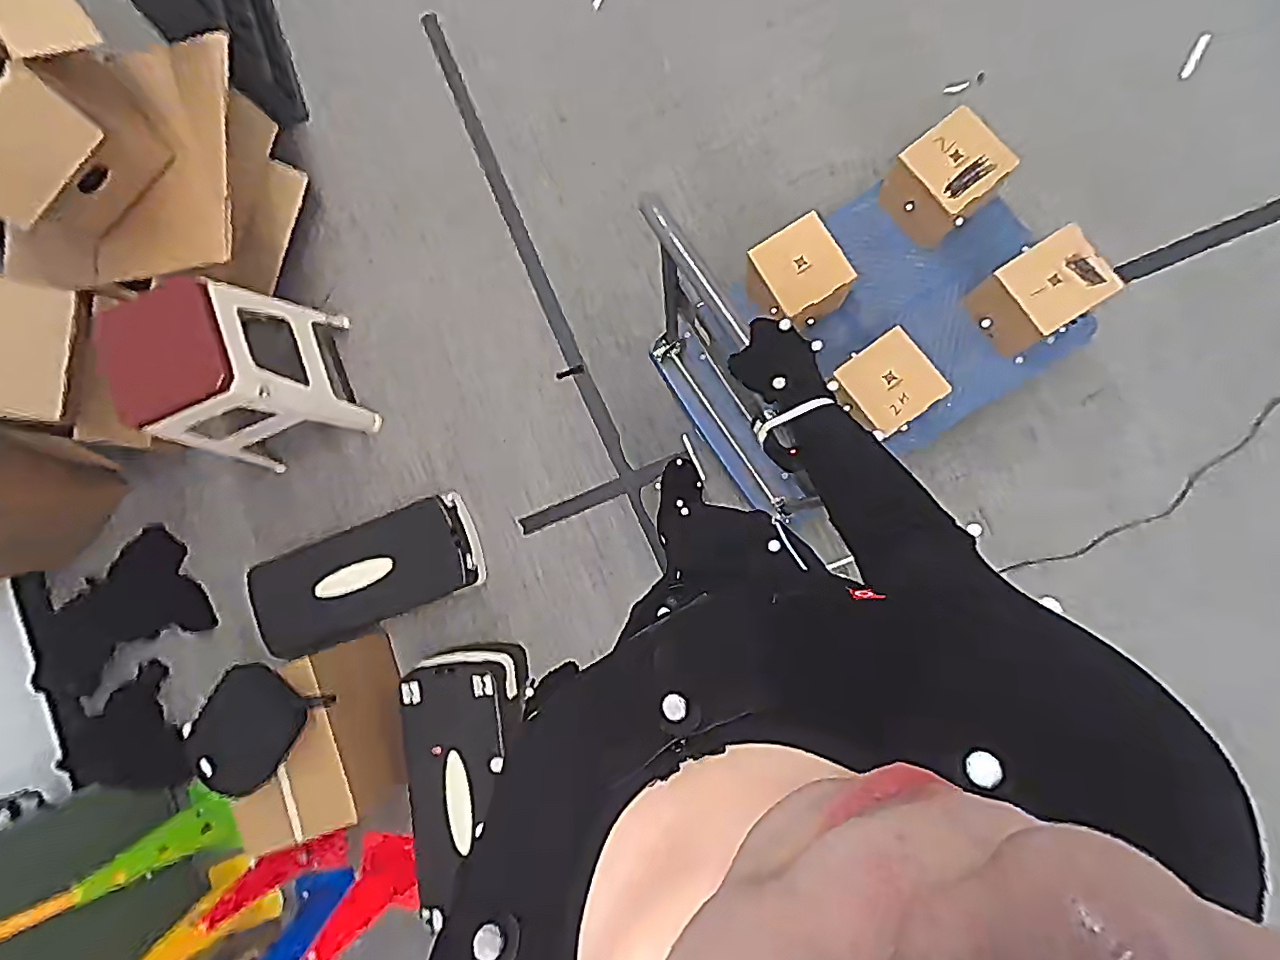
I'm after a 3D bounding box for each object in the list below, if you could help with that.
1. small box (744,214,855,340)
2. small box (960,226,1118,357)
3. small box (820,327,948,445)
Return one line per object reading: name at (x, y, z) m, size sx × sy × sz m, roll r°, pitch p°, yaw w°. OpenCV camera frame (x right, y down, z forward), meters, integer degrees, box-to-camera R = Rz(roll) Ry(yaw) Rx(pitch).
small box at (0.350, -0.451, 1.229) m, size 0.168 × 0.176 × 0.179 m, roll -31°, pitch 85°, yaw 5°
small box at (0.837, -0.392, 1.156) m, size 0.179 × 0.176 × 0.168 m, roll -33°, pitch 83°, yaw 6°
small box at (0.522, -0.196, 1.188) m, size 0.168 × 0.176 × 0.179 m, roll -36°, pitch 82°, yaw 5°
